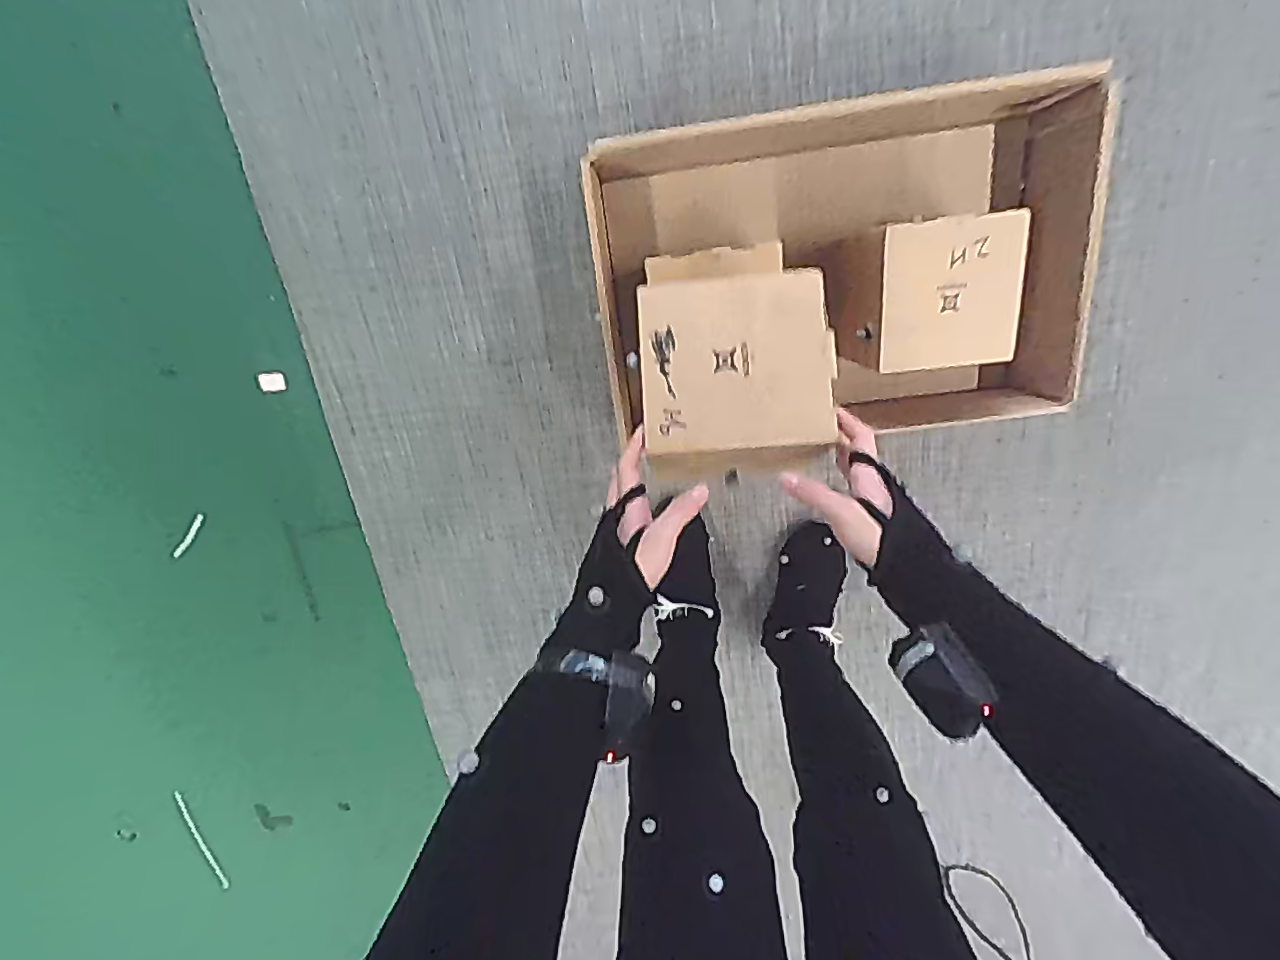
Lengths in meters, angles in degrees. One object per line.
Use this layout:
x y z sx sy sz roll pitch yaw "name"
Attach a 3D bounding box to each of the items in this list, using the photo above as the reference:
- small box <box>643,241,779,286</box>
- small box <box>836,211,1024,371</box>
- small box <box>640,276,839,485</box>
0.096 -0.224 0.754 0.168 0.176 0.179 -6 108 3 "small box"
0.376 -0.253 0.735 0.168 0.176 0.179 -5 108 3 "small box"
0.092 -0.092 0.573 0.179 0.176 0.168 -3 77 3 "small box"
